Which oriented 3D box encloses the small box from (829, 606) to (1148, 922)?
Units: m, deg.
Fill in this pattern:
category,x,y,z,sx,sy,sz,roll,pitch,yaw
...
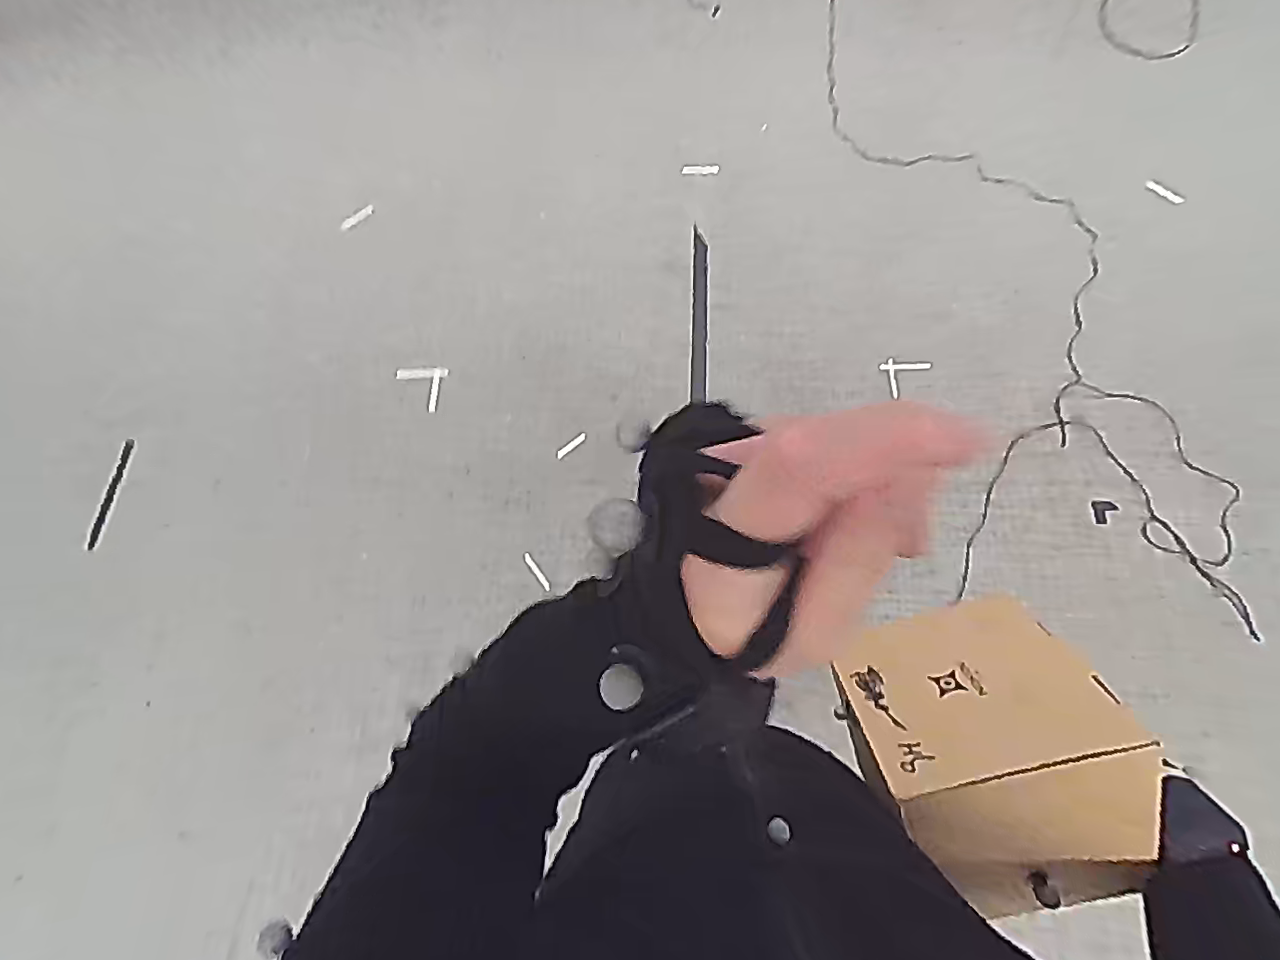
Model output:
category,x,y,z,sx,sy,sz,roll,pitch,yaw
small box,0.292,0.247,0.484,0.179,0.168,0.176,-18,111,8
